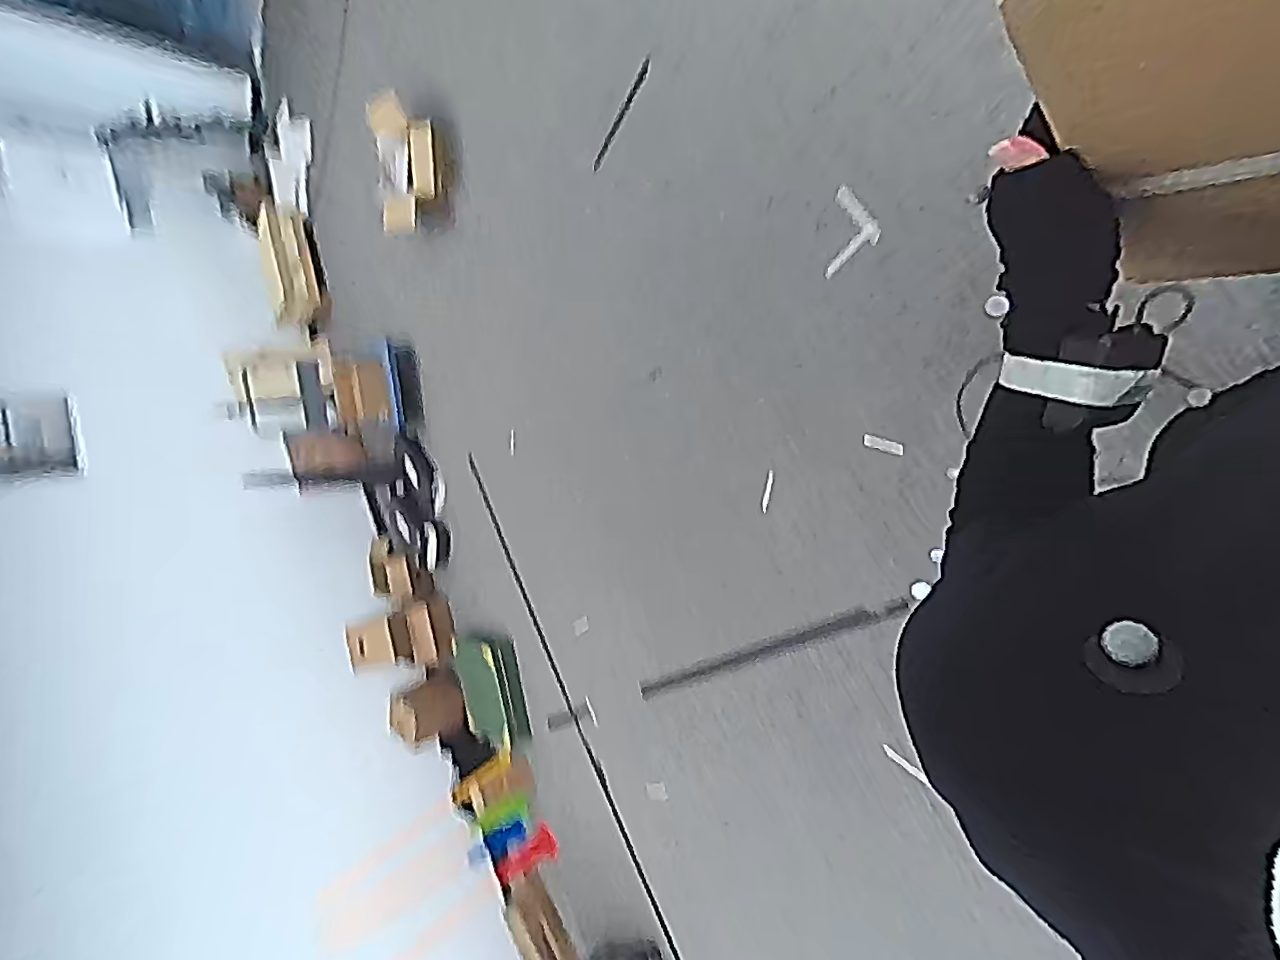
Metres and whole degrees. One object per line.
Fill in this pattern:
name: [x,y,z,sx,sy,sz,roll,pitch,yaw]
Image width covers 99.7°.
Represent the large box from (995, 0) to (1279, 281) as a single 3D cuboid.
large box: [0.407,-0.290,0.160,0.408,0.320,0.320,13,94,50]
